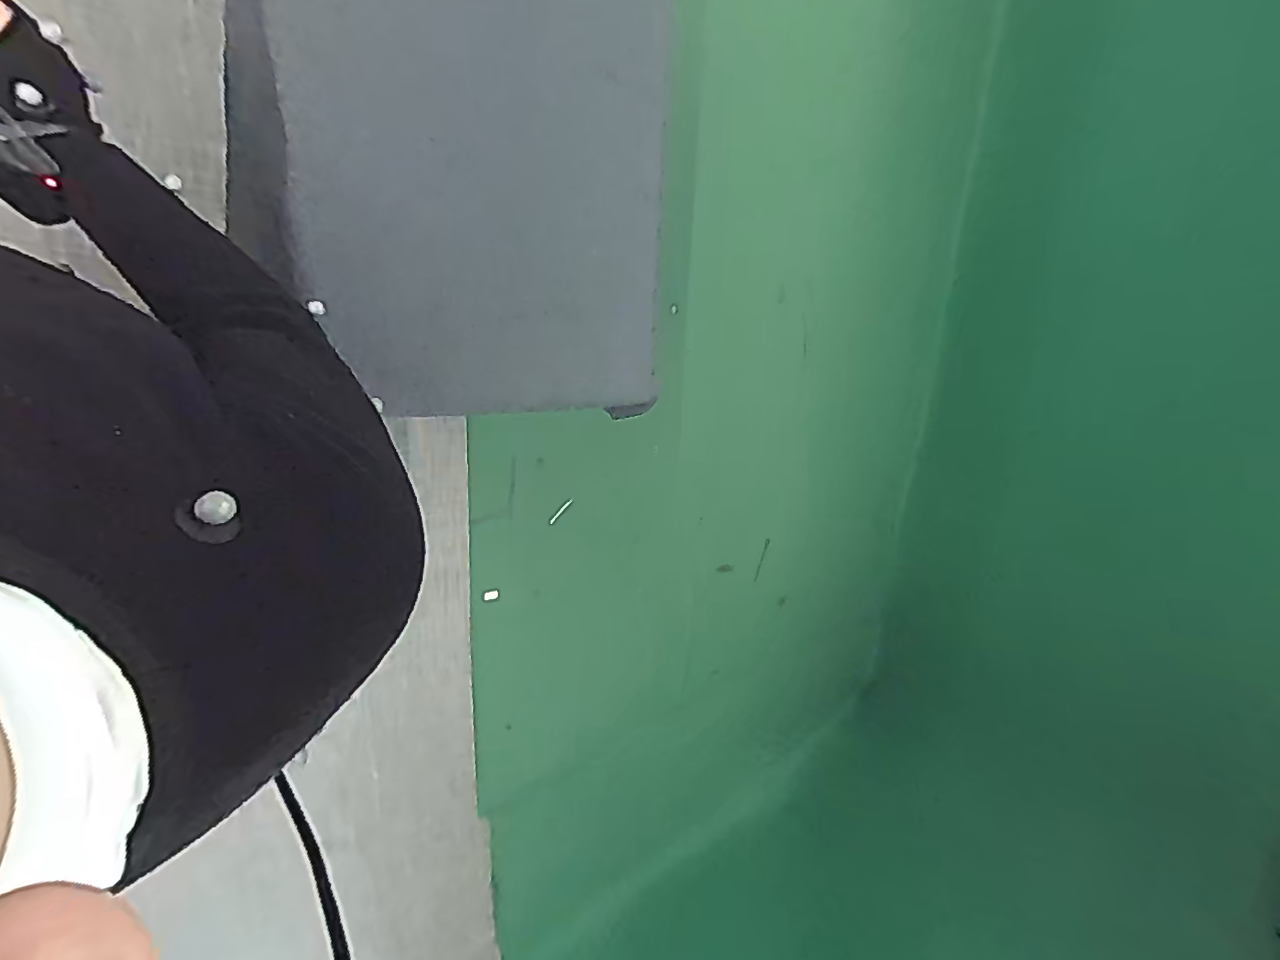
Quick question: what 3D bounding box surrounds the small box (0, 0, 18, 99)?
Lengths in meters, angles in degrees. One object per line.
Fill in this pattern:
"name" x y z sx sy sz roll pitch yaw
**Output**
"small box" -0.617 -0.428 0.400 0.168 0.176 0.179 -10 107 -37
